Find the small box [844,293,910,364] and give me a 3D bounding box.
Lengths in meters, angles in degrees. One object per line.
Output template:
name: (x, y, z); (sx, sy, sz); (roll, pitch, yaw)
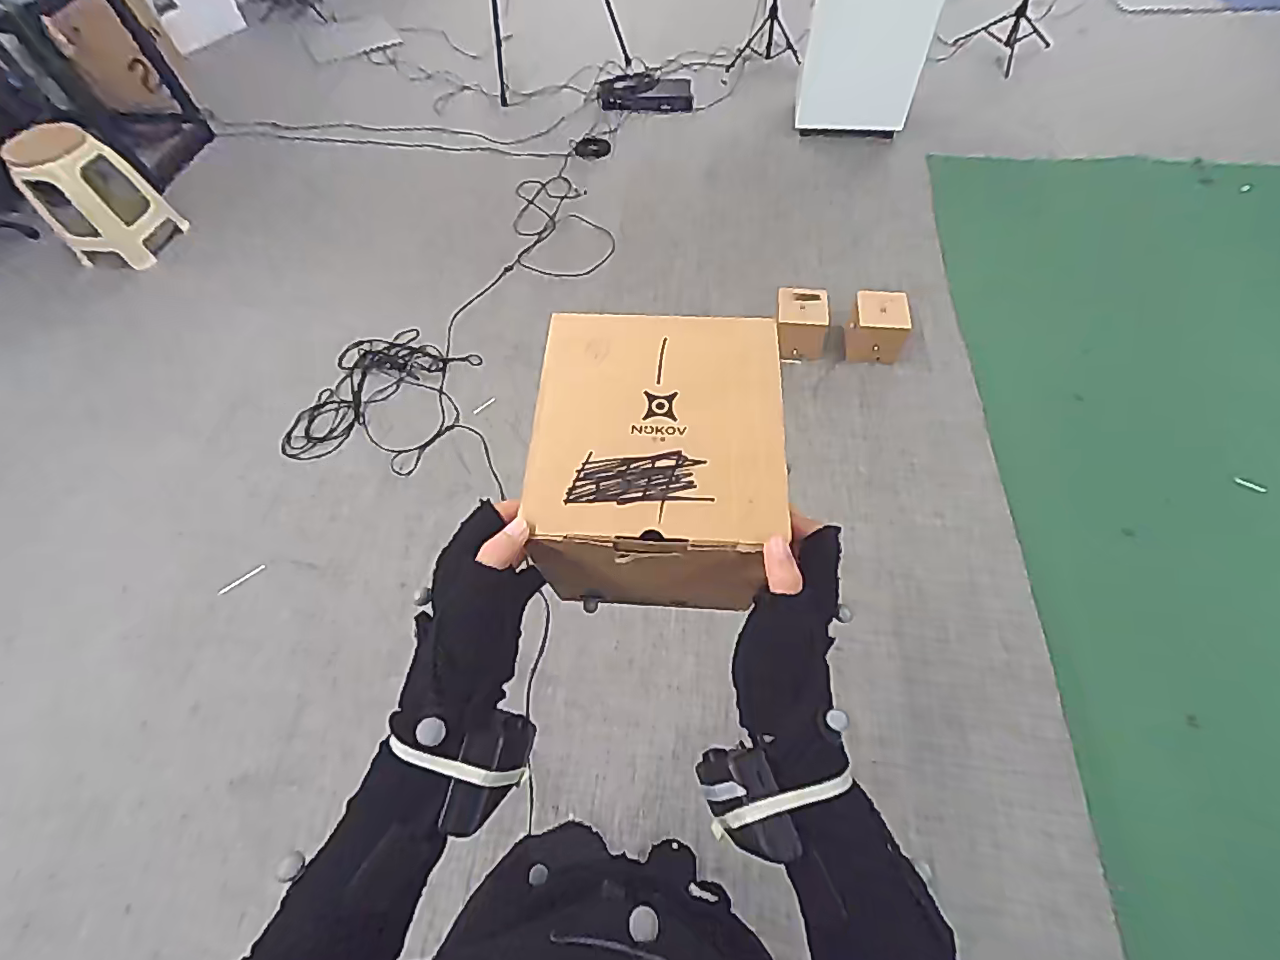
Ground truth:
small box: (0.815, -0.521, 1.872); (0.168, 0.176, 0.179); (5, 59, 6)
